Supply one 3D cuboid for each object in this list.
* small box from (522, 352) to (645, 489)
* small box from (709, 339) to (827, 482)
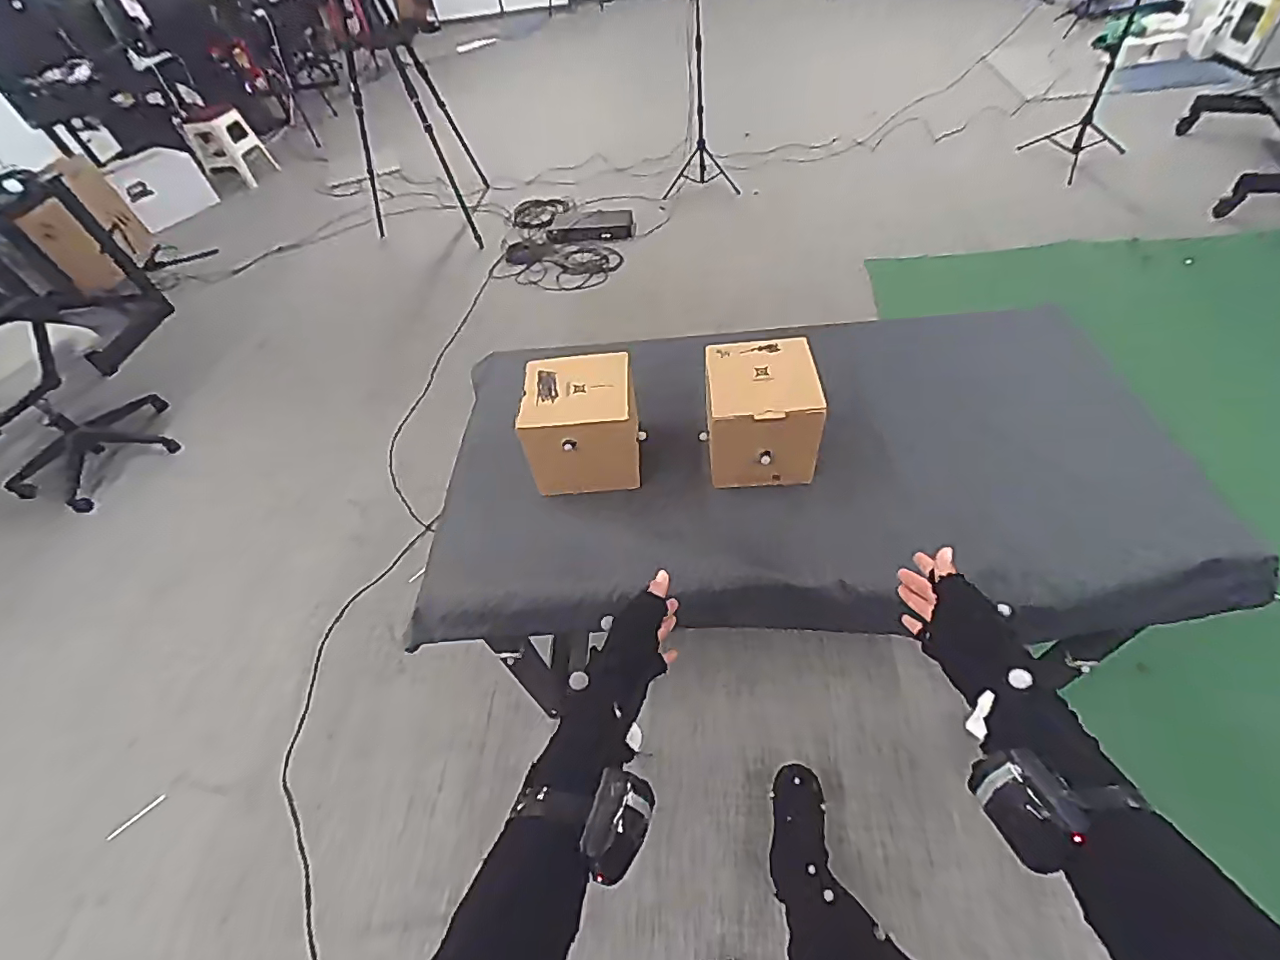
[{"bbox_3d":[-0.087,-0.097,0.931,0.179,0.176,0.168,-4,51,4],"label":"small box"},{"bbox_3d":[0.203,-0.108,0.899,0.168,0.176,0.179,-3,51,6],"label":"small box"}]
